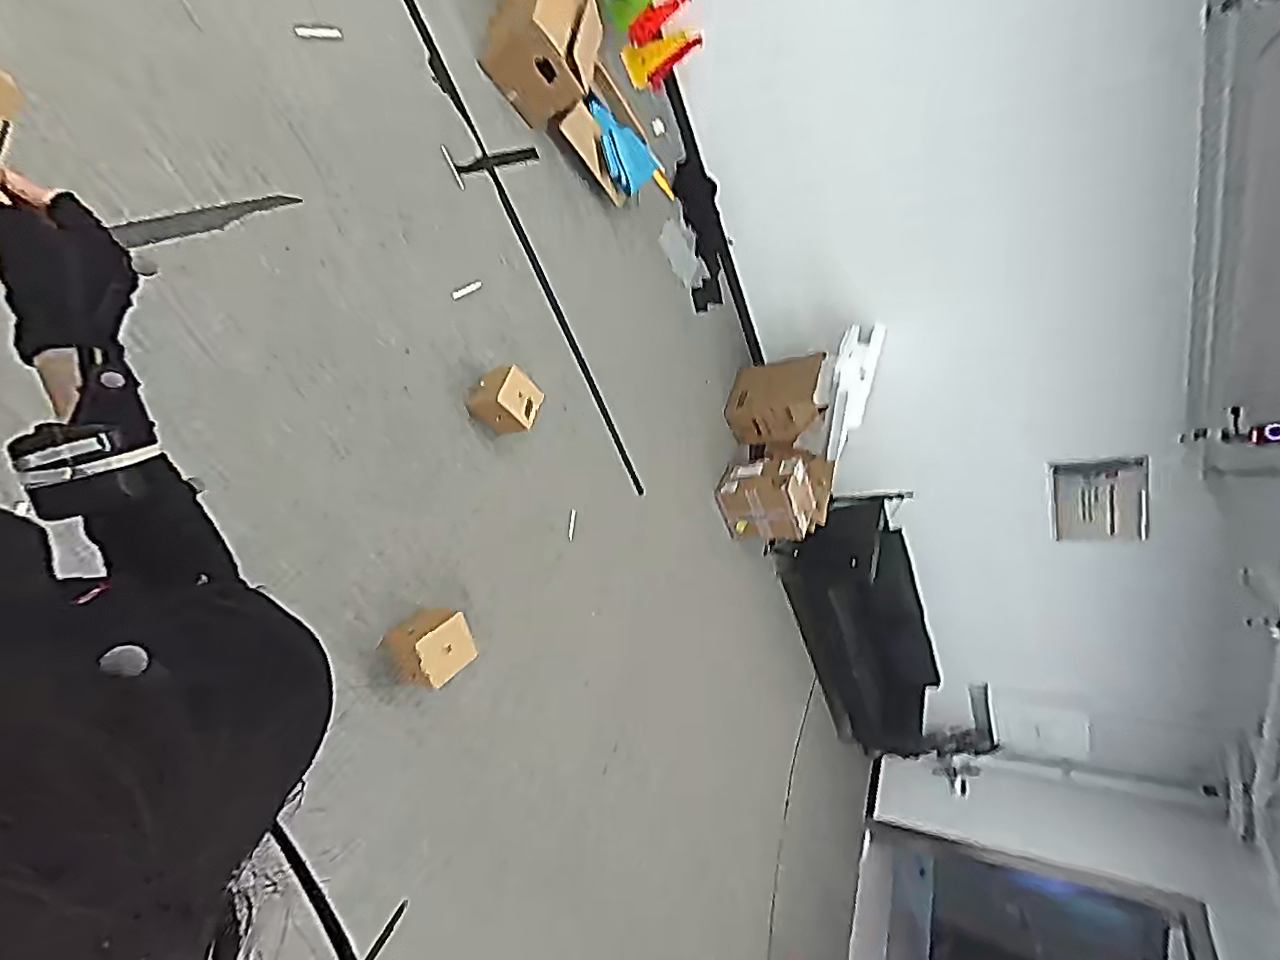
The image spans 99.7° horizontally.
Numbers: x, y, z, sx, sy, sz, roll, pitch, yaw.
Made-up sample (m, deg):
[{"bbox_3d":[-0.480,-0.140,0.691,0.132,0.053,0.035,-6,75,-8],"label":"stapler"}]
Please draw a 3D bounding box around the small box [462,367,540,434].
[{"bbox_3d":[-0.504,-0.283,1.962,0.179,0.176,0.168,47,49,-41],"label":"small box"}]

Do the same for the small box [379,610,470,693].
[{"bbox_3d":[-0.656,0.511,1.633,0.179,0.176,0.168,-36,117,-53],"label":"small box"}]
